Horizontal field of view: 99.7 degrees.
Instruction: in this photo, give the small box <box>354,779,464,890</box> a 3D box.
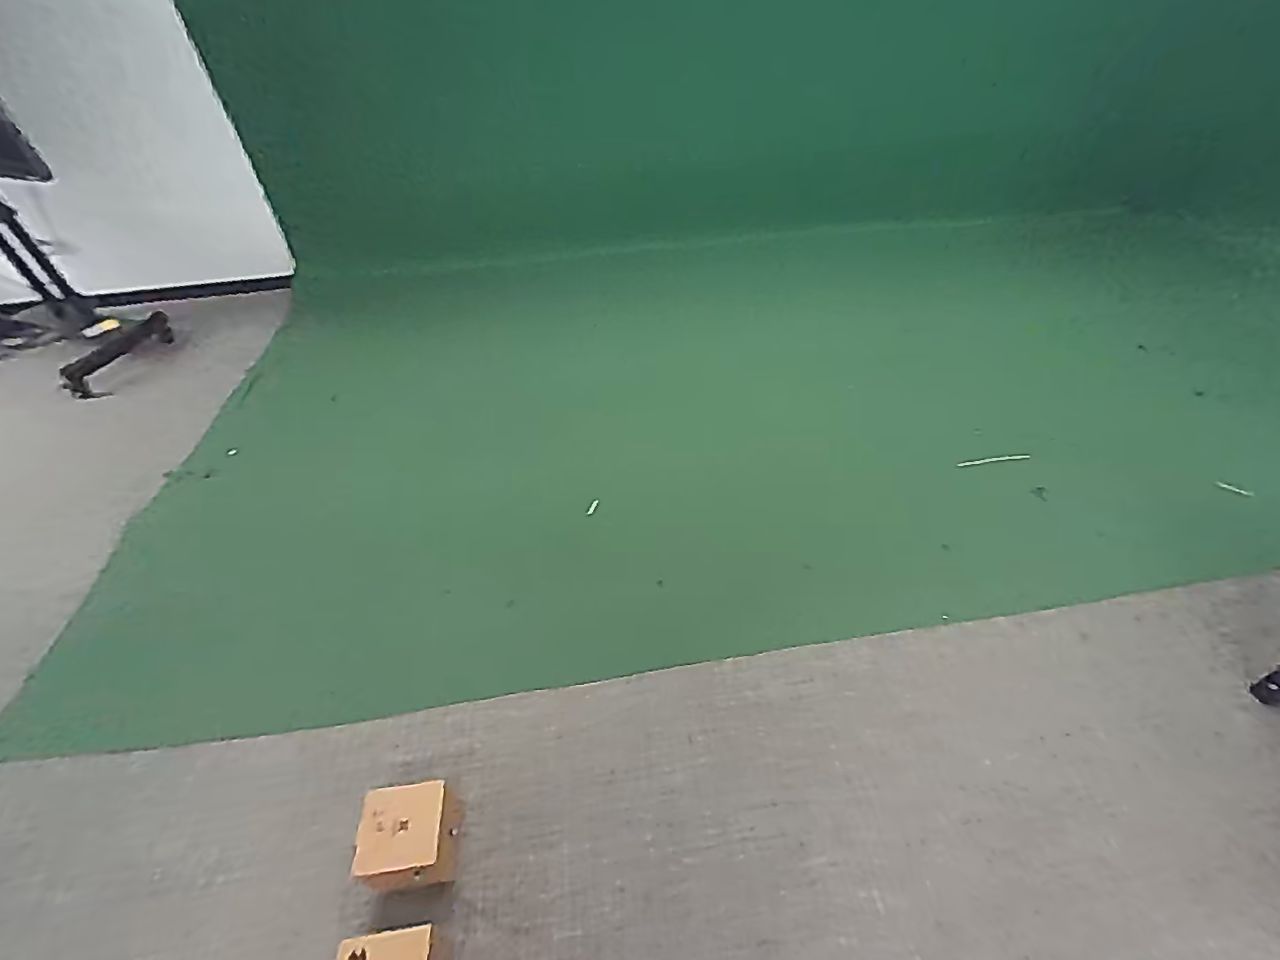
[{"bbox_3d":[-0.510,0.805,1.227,0.179,0.176,0.168,-7,43,-4],"label":"small box"}]
